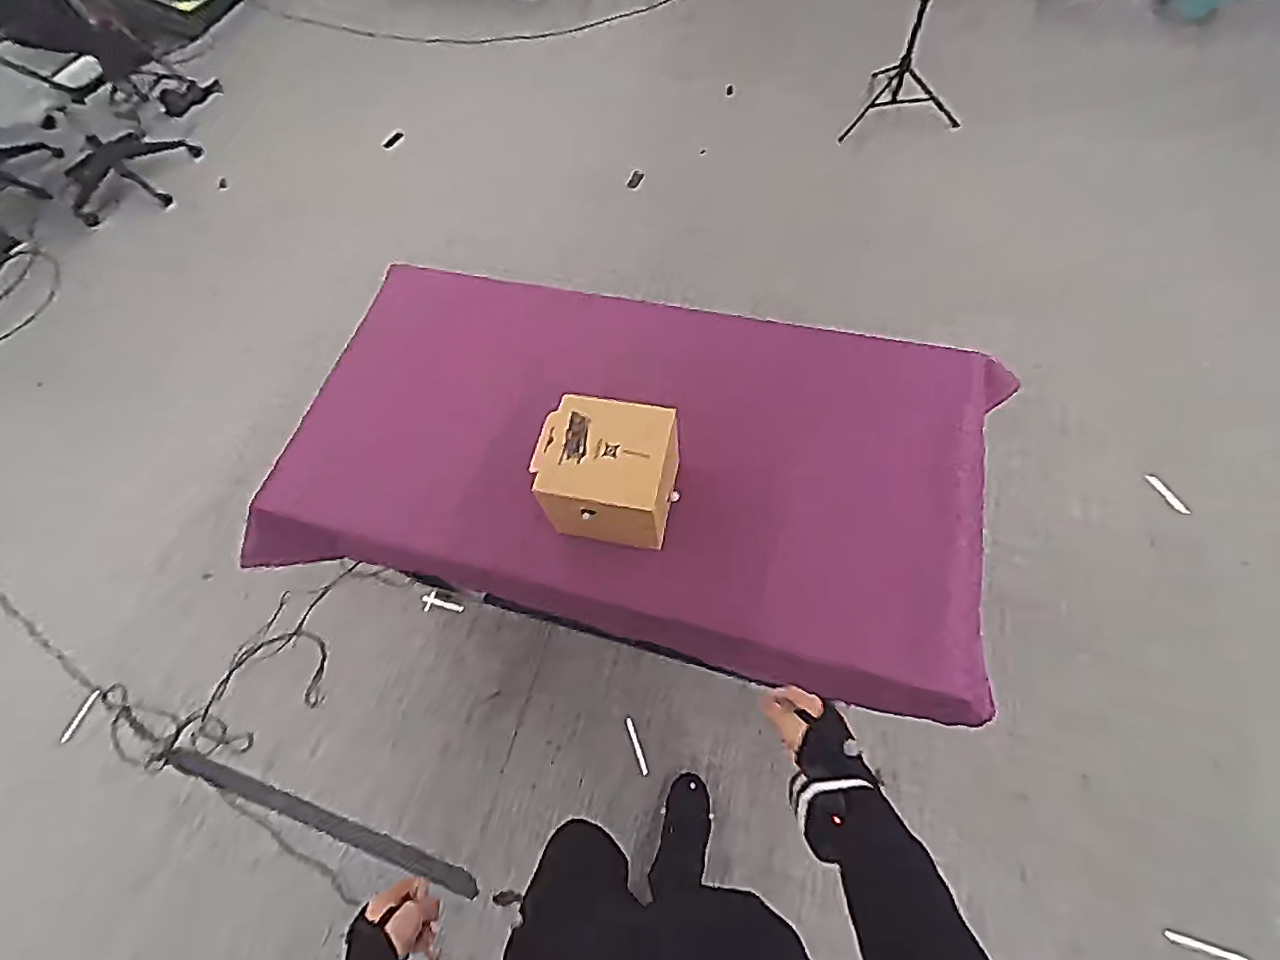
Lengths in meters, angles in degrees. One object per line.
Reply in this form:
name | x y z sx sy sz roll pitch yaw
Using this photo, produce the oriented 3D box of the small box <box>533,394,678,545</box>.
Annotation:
small box | -0.042 -0.010 0.838 0.179 0.176 0.168 9 66 9
